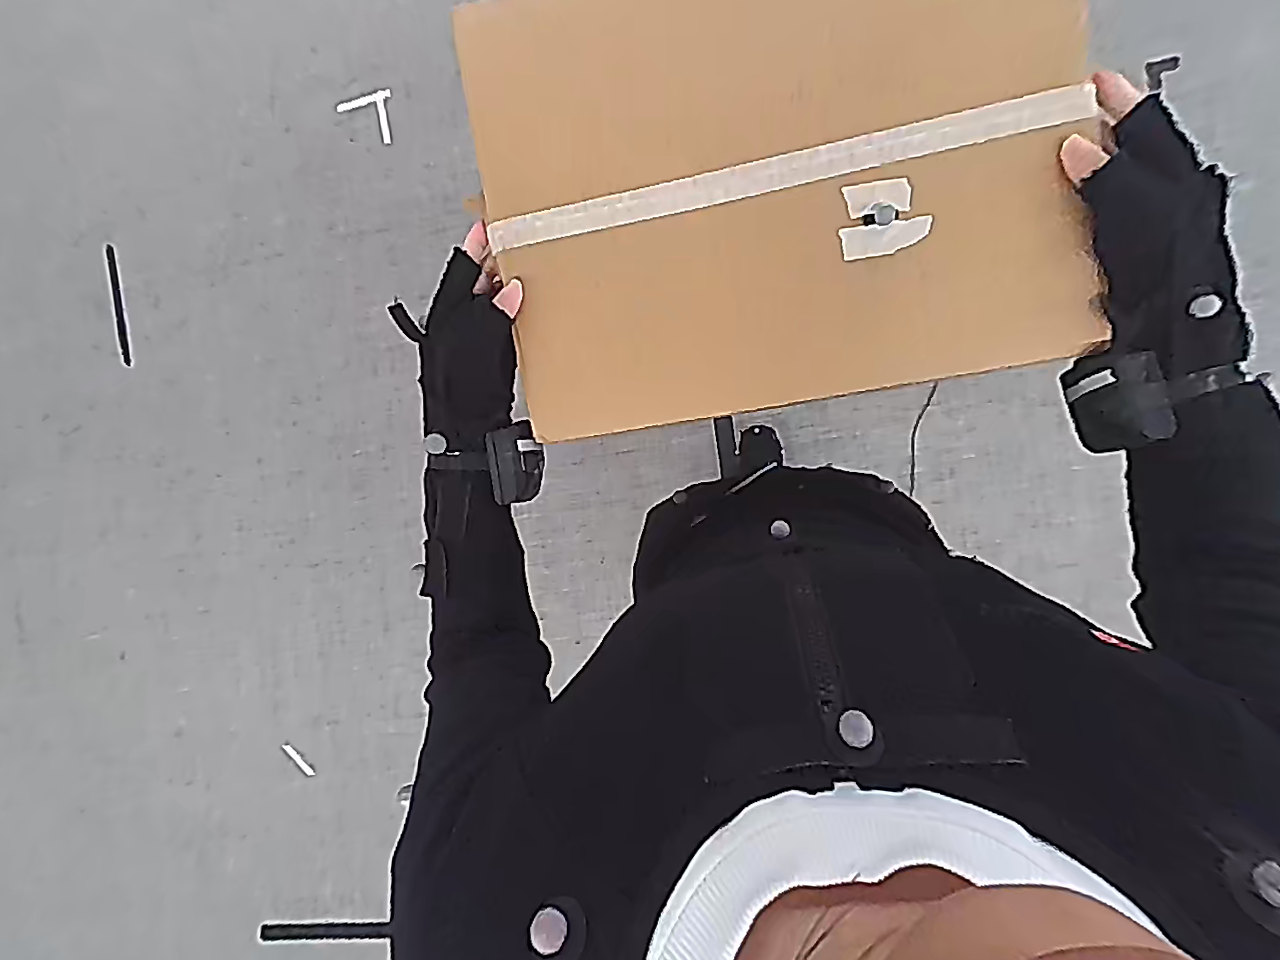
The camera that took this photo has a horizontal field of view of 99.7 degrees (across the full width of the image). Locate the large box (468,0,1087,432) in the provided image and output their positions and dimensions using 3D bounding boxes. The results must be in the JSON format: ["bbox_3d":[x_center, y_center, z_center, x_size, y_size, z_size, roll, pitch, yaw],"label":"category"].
[{"bbox_3d":[0.107,-0.239,0.532,0.408,0.320,0.320,-9,98,7],"label":"large box"}]
